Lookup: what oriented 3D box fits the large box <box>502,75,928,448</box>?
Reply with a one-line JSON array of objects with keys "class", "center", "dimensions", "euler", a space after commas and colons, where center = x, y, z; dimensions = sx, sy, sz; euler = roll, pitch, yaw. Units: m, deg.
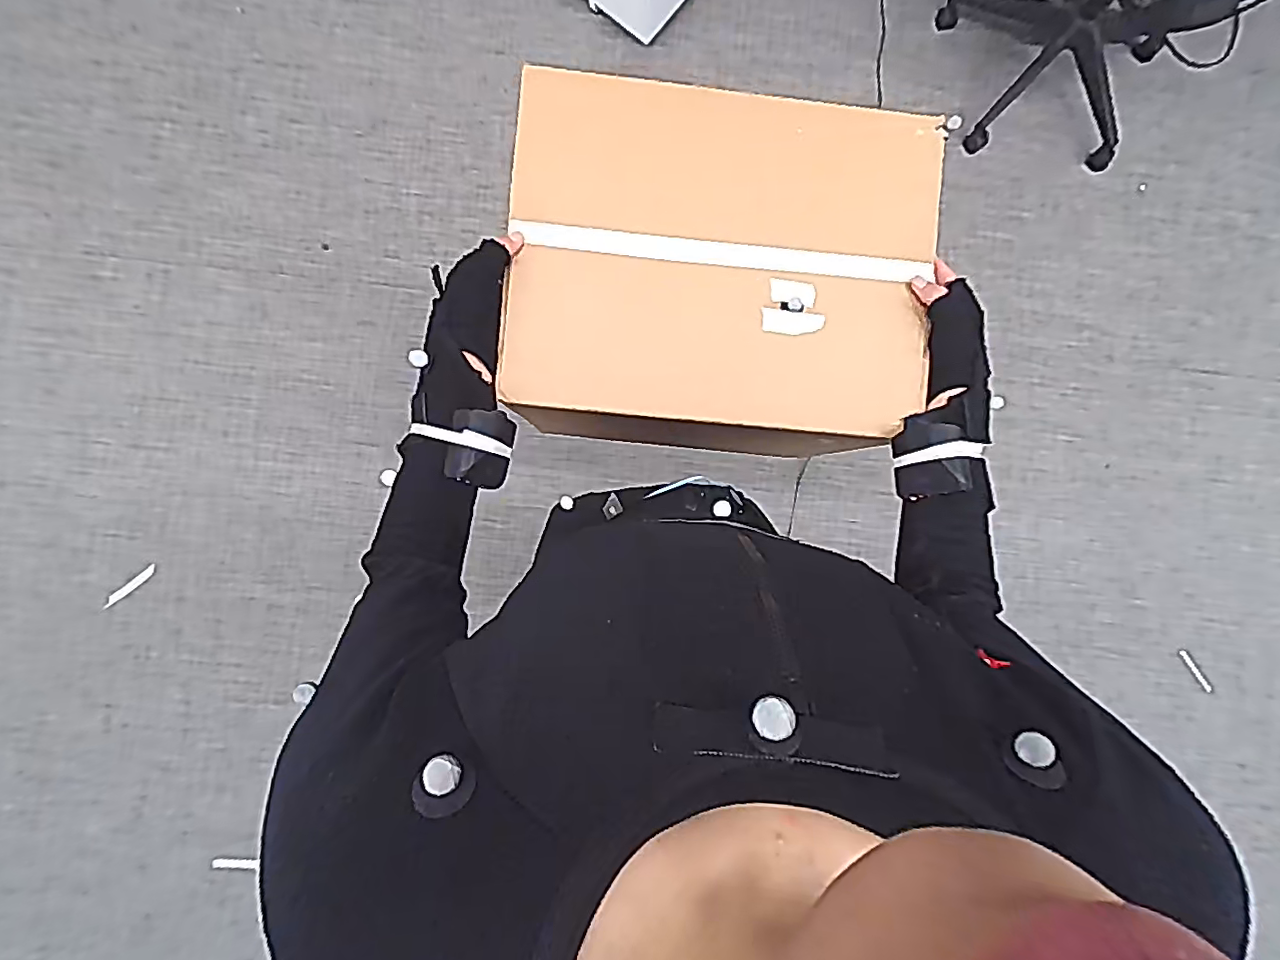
[{"class": "large box", "center": [0.066, -0.217, 0.670], "dimensions": [0.408, 0.320, 0.320], "euler": [5, 90, -4]}]
